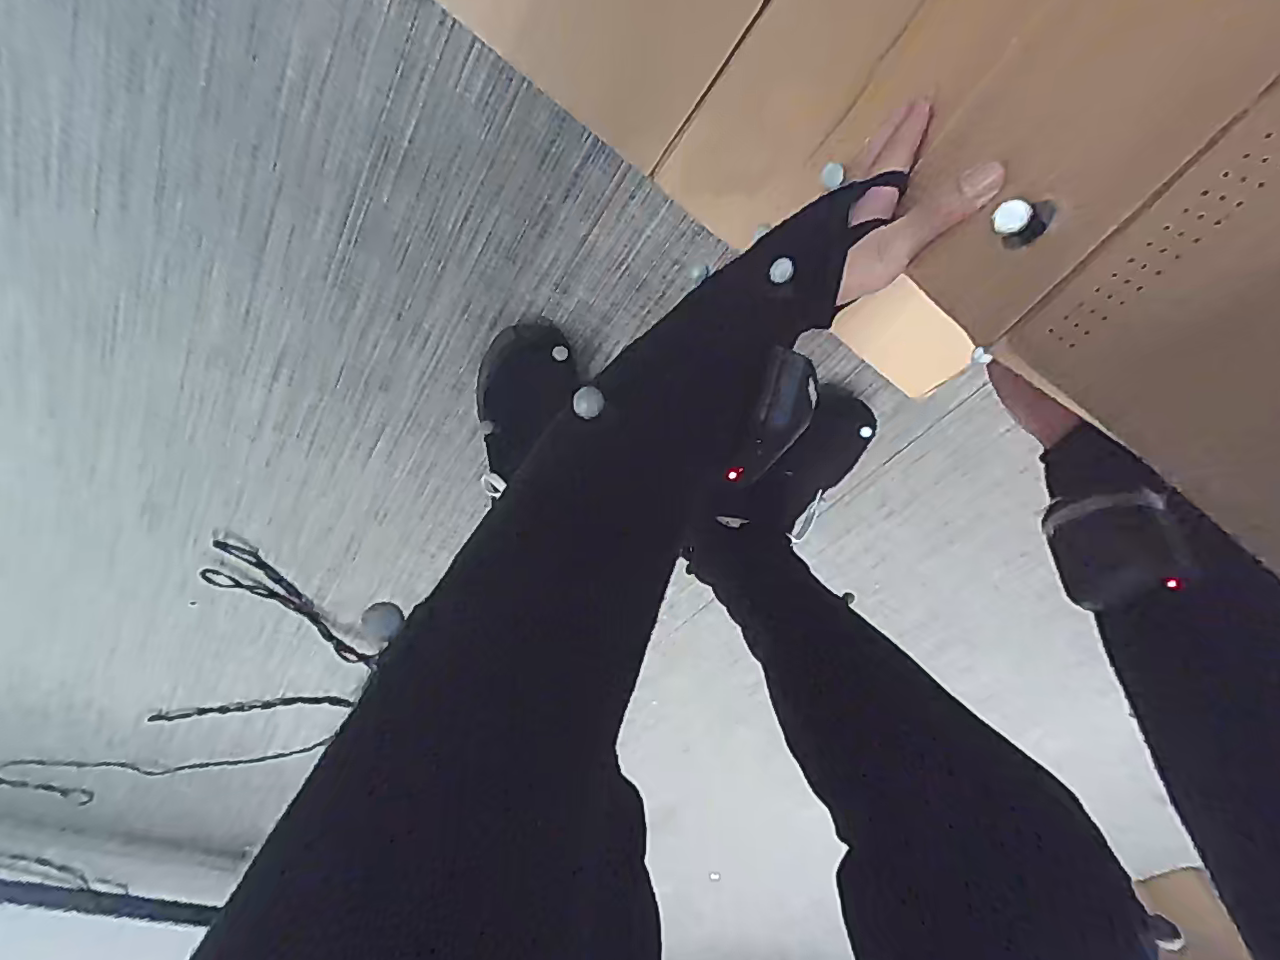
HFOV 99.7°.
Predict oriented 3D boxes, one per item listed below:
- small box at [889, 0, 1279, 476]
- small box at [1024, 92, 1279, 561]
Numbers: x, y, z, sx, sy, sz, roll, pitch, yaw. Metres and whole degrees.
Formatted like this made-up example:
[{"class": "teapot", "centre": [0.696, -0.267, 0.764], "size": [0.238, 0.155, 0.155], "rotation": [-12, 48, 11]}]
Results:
[{"class": "small box", "centre": [0.257, -0.140, 0.274], "size": [0.168, 0.176, 0.179], "rotation": [23, 127, -20]}, {"class": "small box", "centre": [0.265, -0.039, 0.144], "size": [0.168, 0.176, 0.179], "rotation": [21, 126, -19]}]
